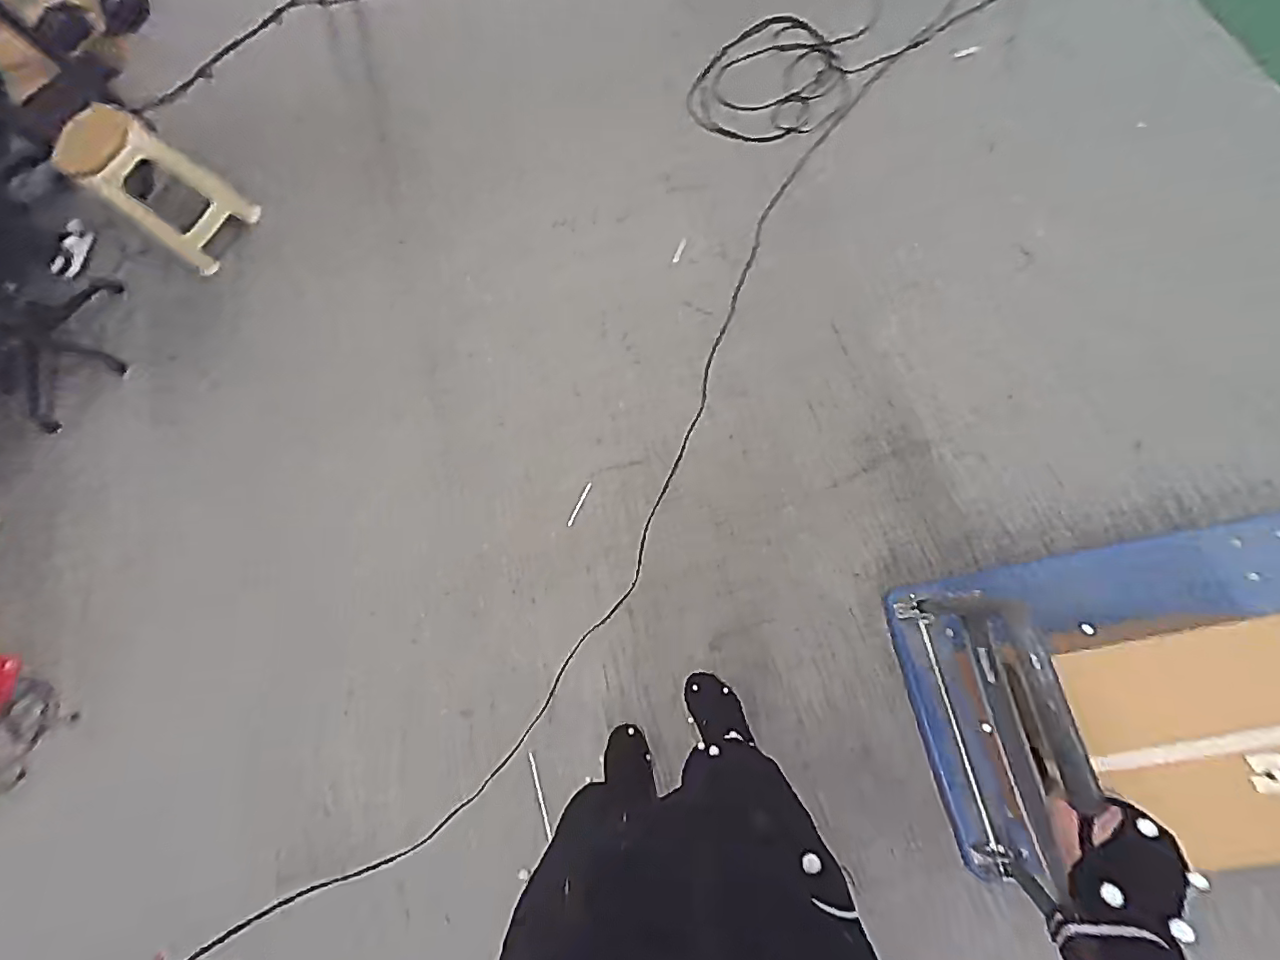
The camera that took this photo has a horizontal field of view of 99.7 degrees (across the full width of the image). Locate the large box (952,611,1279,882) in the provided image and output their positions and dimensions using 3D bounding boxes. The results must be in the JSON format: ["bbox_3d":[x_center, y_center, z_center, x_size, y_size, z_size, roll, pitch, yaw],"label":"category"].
[{"bbox_3d":[0.850,0.432,0.943,0.408,0.320,0.320,-15,73,8],"label":"large box"}]
